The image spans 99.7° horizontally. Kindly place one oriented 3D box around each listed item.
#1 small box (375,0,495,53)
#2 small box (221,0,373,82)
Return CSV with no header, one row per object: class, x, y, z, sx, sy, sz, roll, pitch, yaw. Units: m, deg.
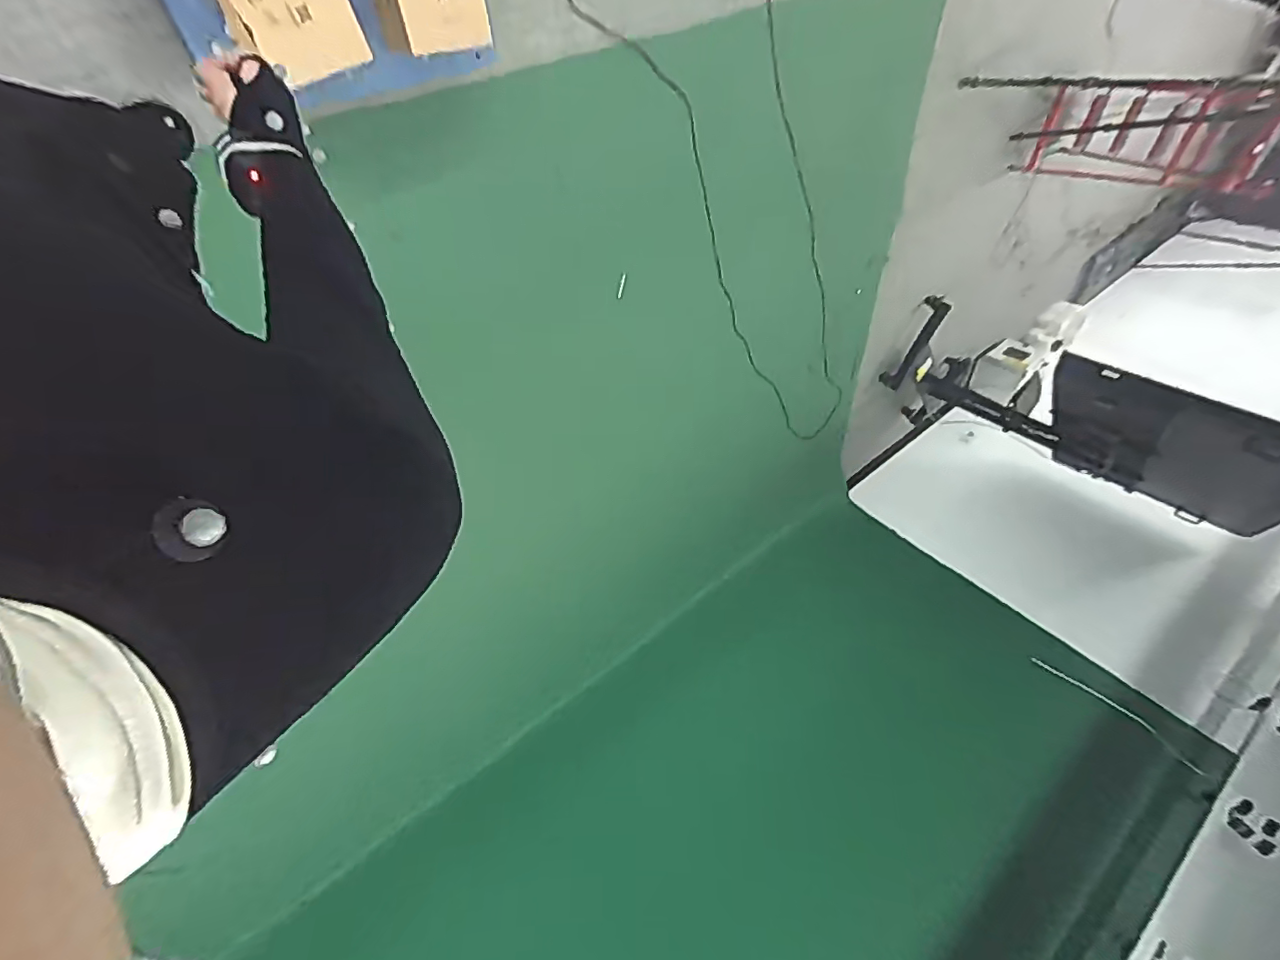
small box,-0.403,-0.930,1.026,0.168,0.176,0.179,-29,138,-23
small box,-0.600,-0.805,0.930,0.179,0.176,0.168,-31,137,-21
